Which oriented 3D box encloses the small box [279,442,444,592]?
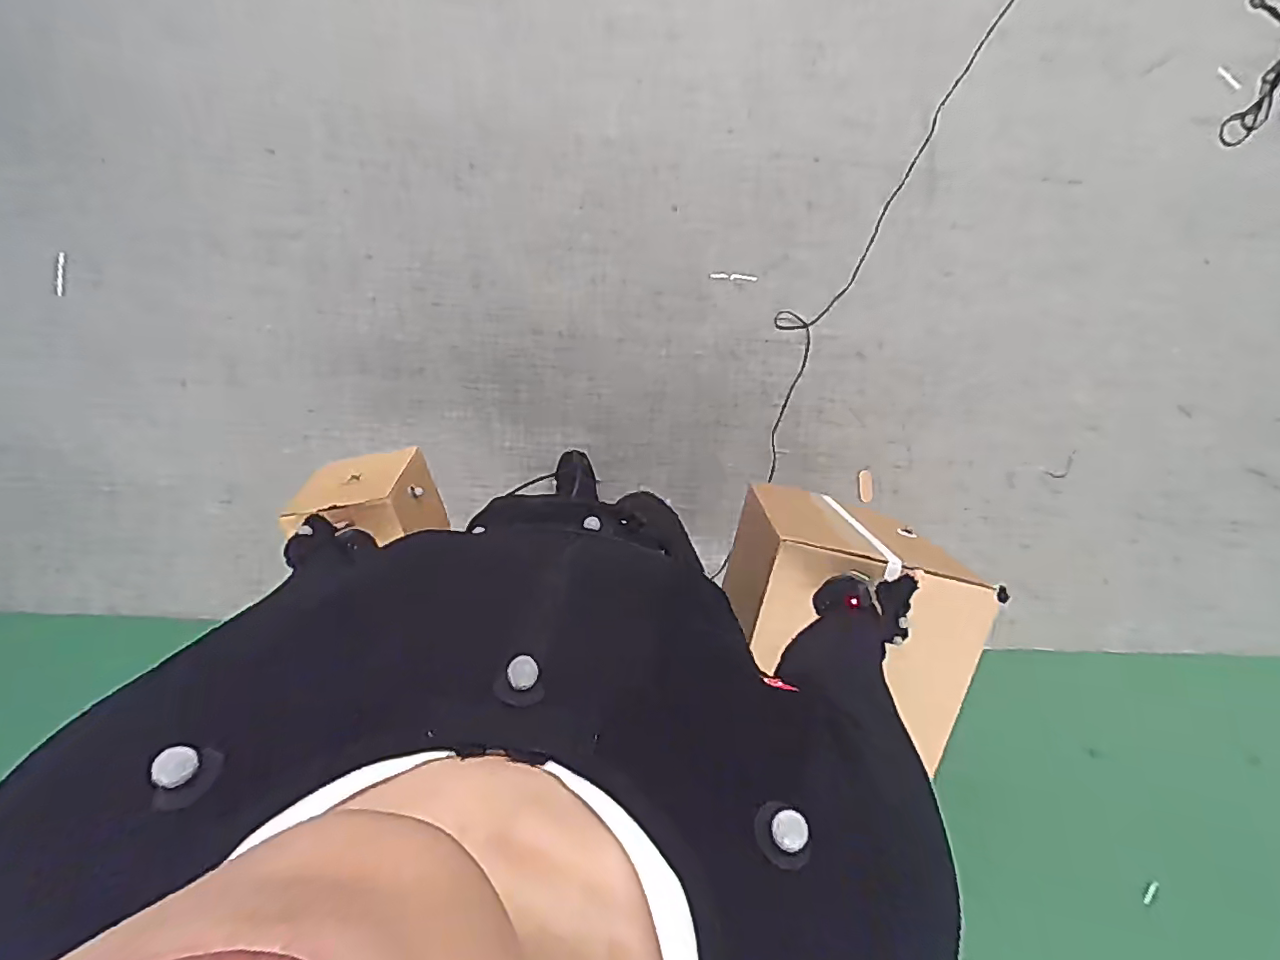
[{"bbox_3d":[-0.441,0.059,0.895,0.168,0.179,0.176,-10,121,0],"label":"small box"}]
